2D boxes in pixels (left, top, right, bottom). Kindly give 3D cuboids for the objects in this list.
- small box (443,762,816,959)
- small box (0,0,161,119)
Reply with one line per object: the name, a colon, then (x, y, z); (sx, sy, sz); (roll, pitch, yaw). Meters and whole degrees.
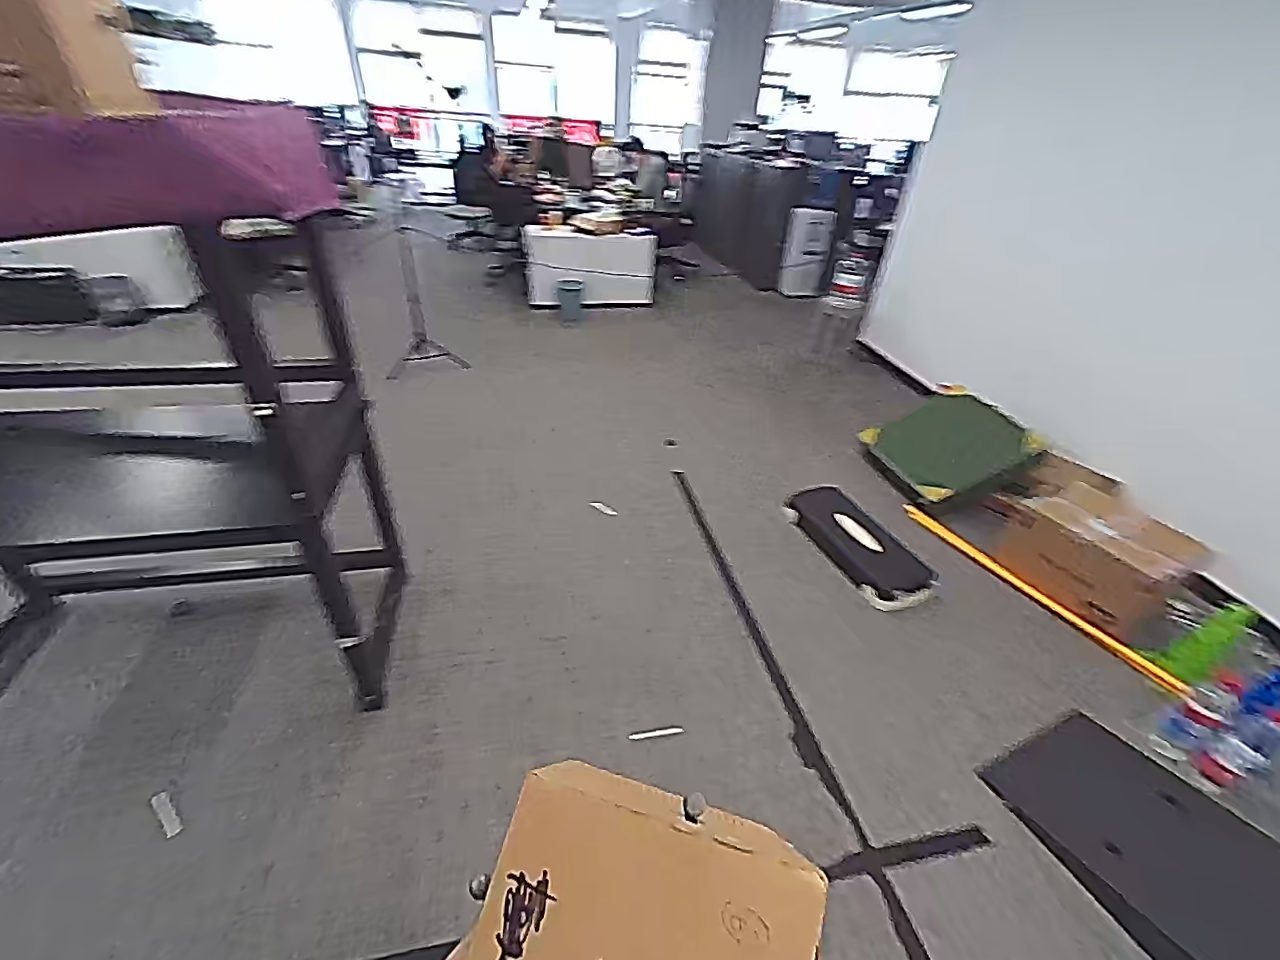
small box: (-0.013, 0.287, 0.333); (0.179, 0.176, 0.168); (15, 66, 7)
small box: (-0.894, -0.664, 0.829); (0.168, 0.176, 0.179); (-2, 35, -8)
